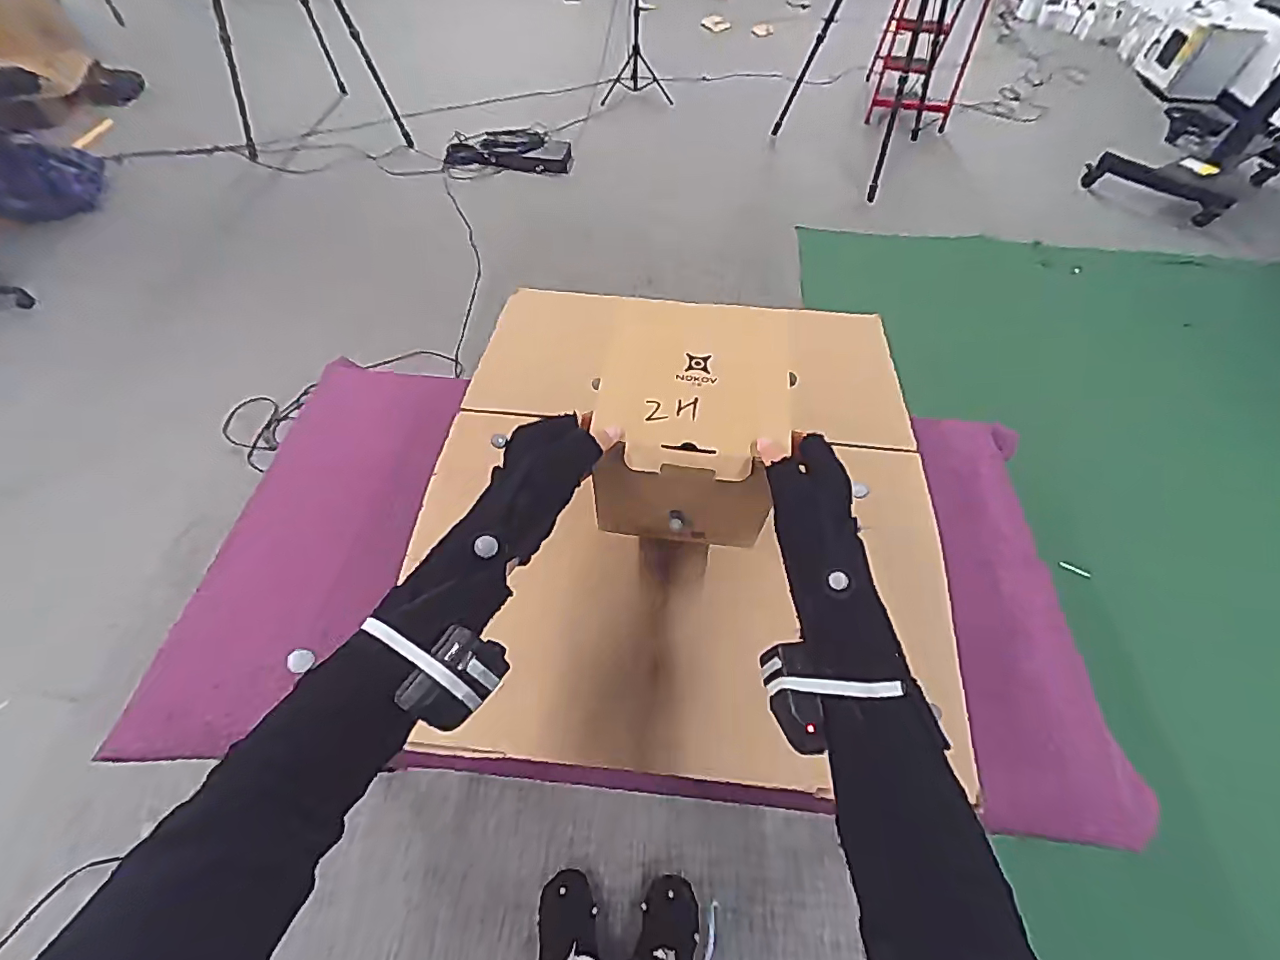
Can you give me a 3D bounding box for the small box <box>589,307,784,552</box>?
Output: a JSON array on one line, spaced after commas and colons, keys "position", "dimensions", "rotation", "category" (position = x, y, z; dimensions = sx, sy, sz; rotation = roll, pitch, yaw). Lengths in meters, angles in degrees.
[{"position": [0.047, -0.048, 0.557], "dimensions": [0.168, 0.176, 0.179], "rotation": [7, 58, 4], "category": "small box"}]
